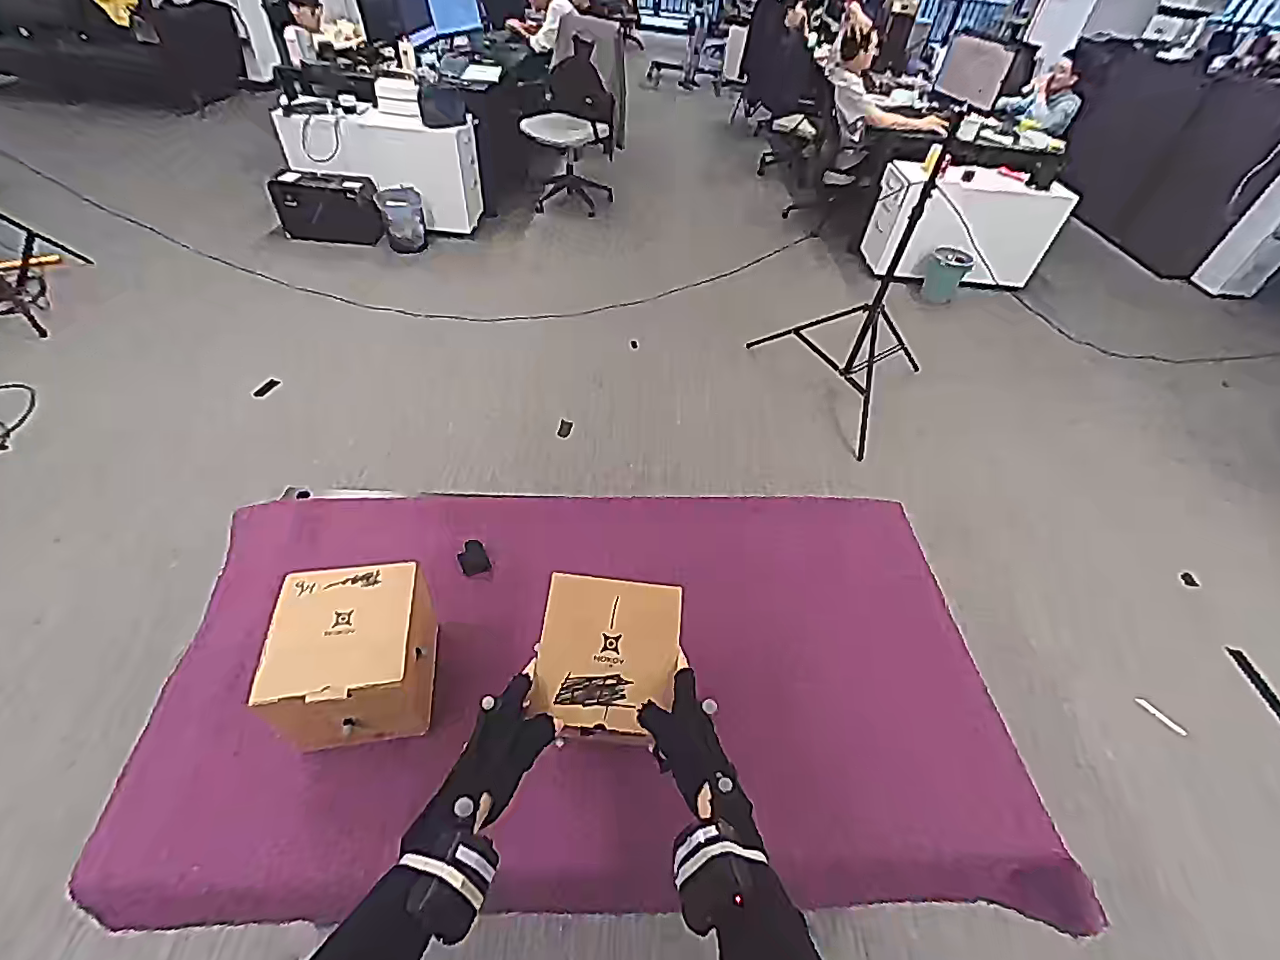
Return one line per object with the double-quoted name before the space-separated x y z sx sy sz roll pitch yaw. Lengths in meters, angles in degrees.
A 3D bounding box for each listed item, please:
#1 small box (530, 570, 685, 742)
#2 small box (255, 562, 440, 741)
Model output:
"small box" -0.038 0.237 0.708 0.168 0.176 0.179 7 59 -1
"small box" -0.374 0.235 0.731 0.168 0.176 0.179 -3 47 -11
